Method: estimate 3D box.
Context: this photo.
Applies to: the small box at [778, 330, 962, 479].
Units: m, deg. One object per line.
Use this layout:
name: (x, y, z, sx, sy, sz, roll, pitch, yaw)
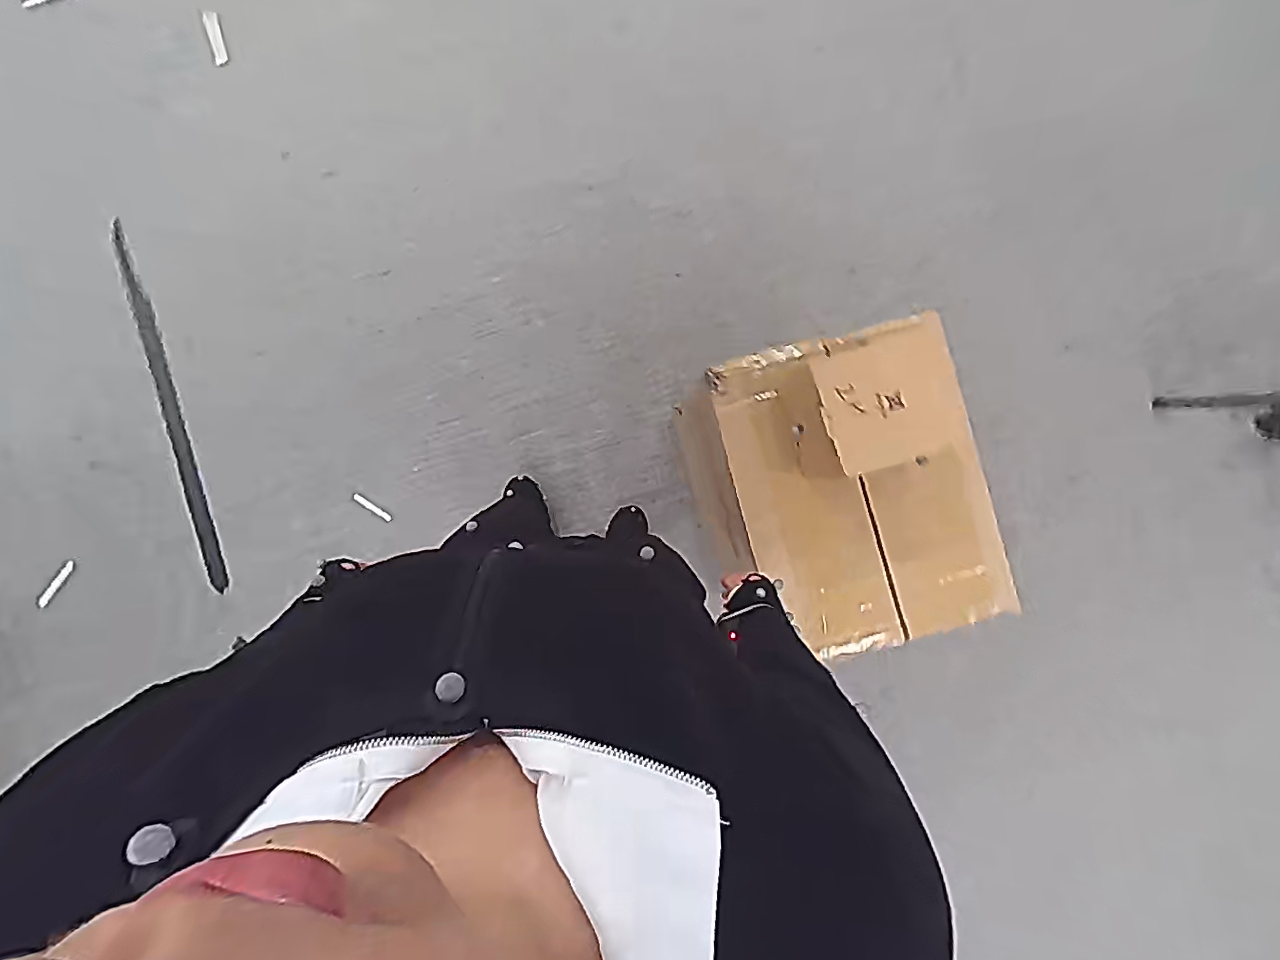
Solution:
small box: (0.329, -0.104, 0.806, 0.179, 0.176, 0.168, -17, 90, 0)
